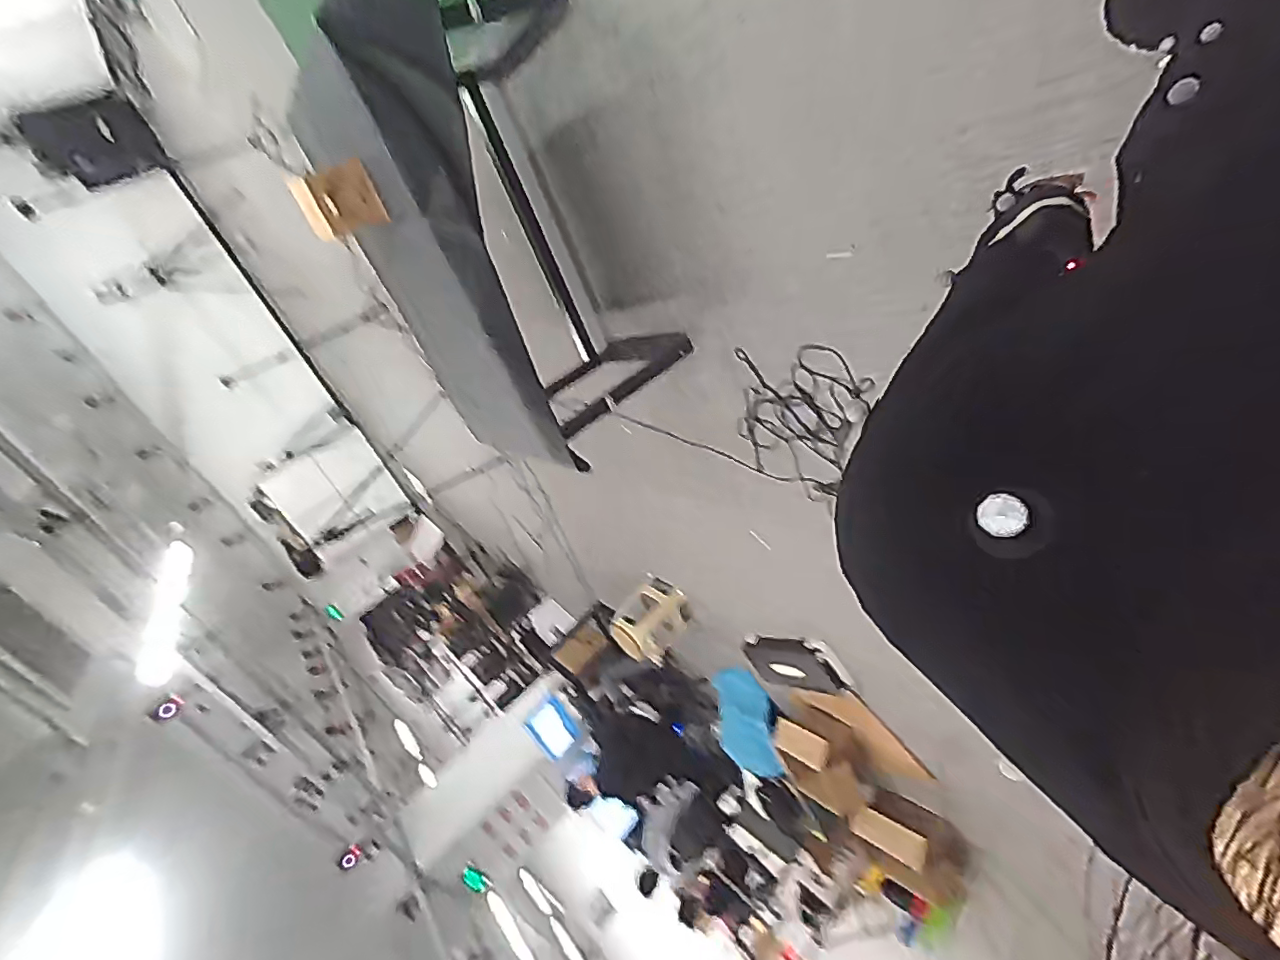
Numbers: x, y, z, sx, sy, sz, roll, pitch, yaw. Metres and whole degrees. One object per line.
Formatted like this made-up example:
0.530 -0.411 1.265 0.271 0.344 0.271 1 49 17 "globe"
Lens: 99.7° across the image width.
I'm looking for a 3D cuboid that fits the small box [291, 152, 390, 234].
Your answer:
-0.845 -0.814 1.536 0.179 0.176 0.168 24 143 42 "small box"
